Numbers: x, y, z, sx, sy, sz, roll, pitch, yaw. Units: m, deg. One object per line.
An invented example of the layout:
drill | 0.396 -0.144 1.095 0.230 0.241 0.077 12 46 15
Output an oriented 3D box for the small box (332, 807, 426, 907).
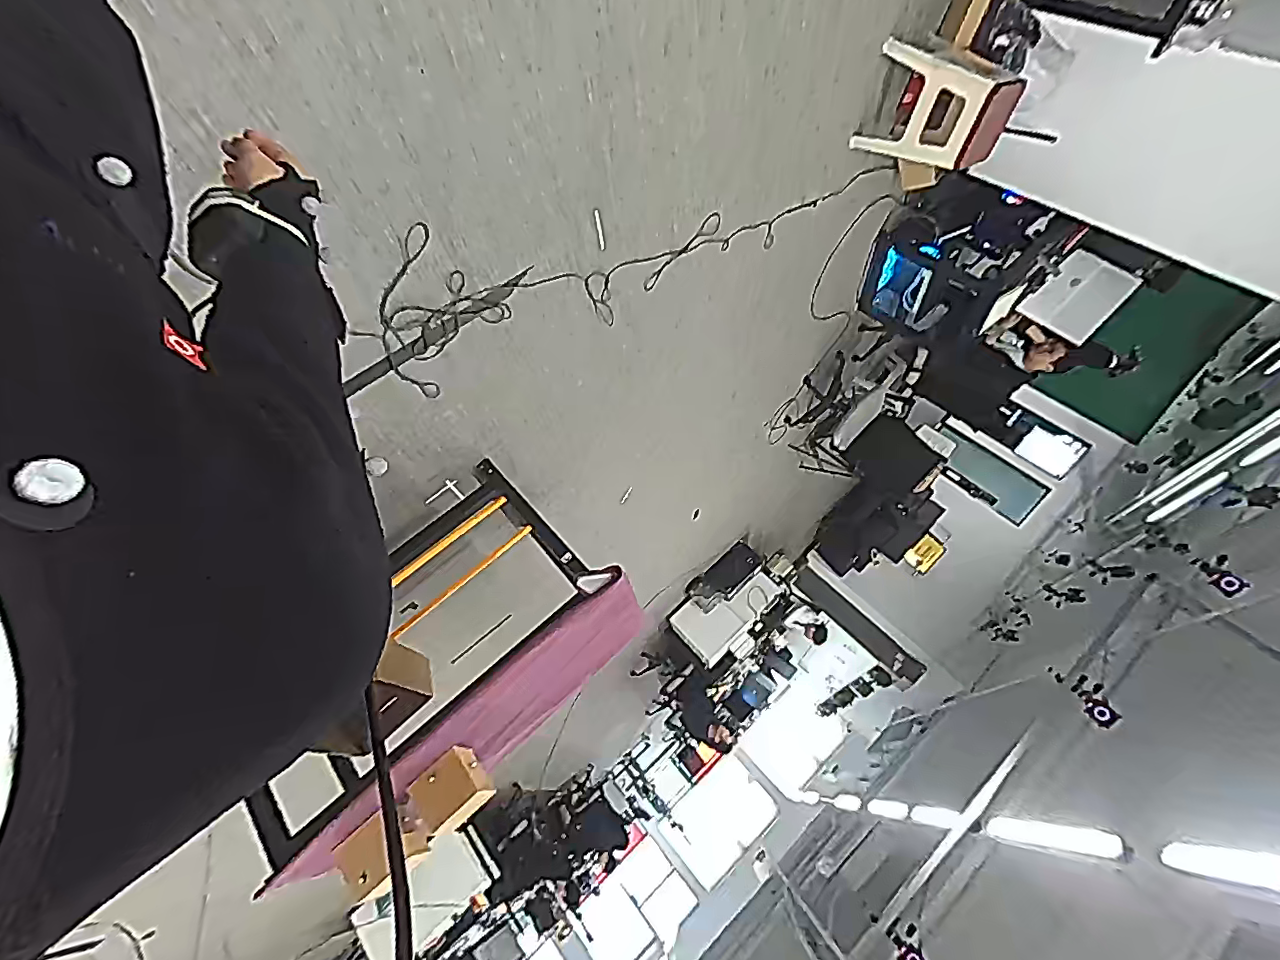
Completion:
small box | -0.787 1.119 1.620 0.179 0.176 0.168 -39 155 -16

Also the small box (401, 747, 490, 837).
small box | -0.603 0.976 1.699 0.179 0.176 0.168 -40 154 -17
